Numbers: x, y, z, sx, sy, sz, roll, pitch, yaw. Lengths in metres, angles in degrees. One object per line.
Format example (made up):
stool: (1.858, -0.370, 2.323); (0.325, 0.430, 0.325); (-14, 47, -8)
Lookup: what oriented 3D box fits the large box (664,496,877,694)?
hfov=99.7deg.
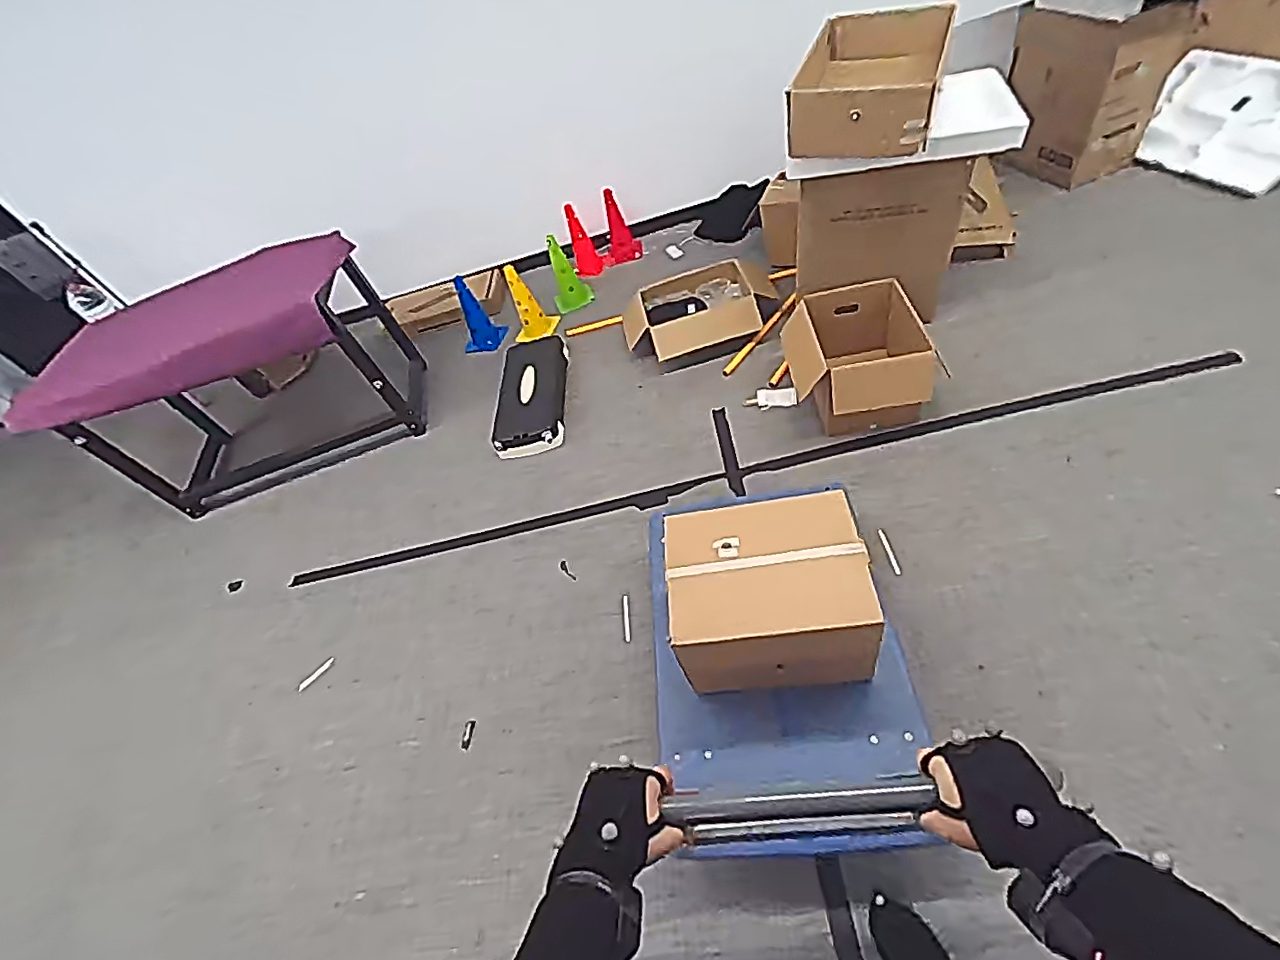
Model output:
large box: (0.291, 0.279, 1.254); (0.408, 0.320, 0.320); (-10, 49, 11)
